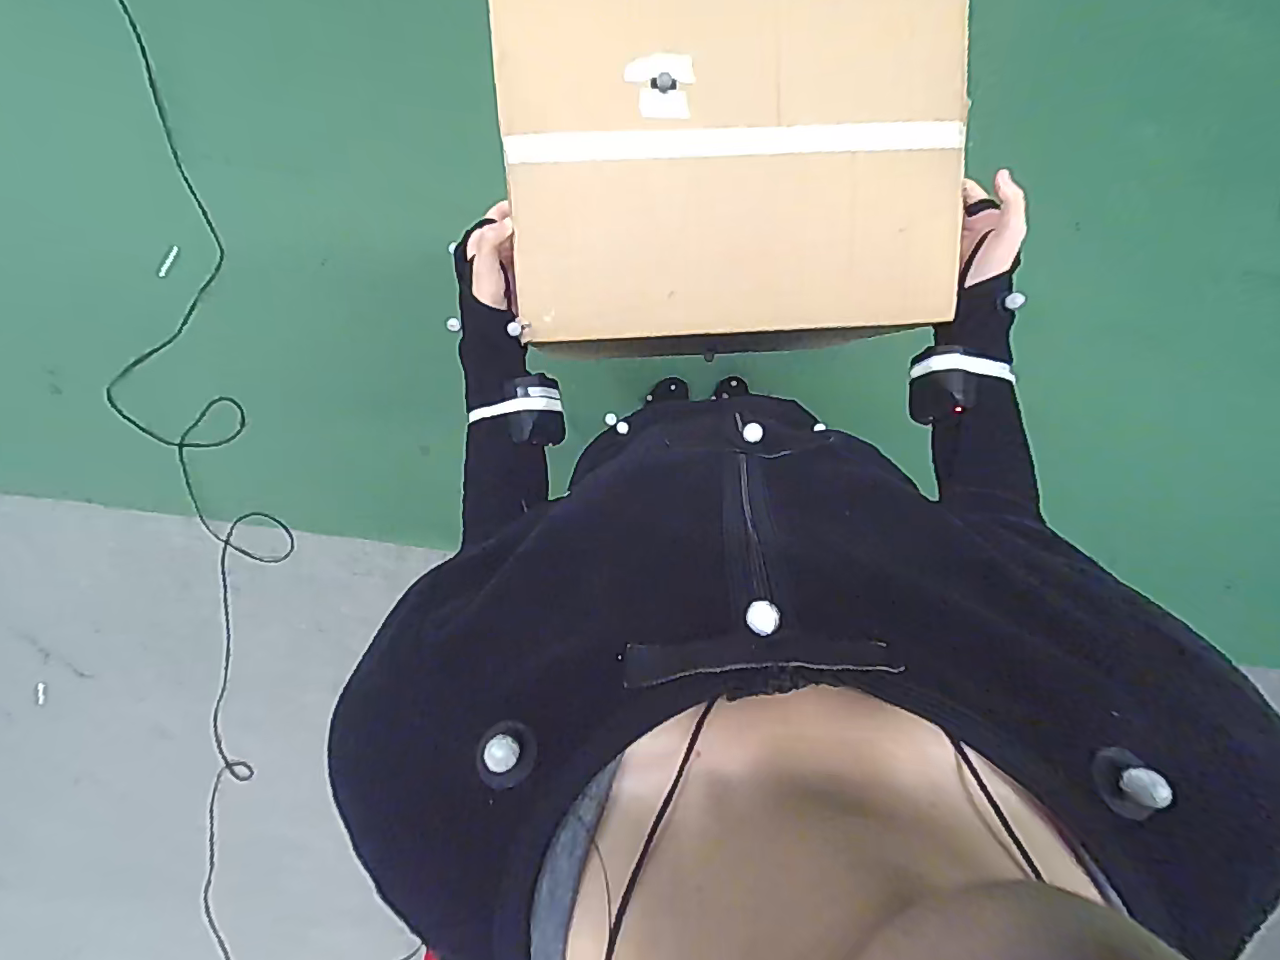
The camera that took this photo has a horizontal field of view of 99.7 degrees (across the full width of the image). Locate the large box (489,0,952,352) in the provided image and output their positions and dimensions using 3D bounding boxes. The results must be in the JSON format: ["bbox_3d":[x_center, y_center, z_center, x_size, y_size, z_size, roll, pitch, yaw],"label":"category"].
[{"bbox_3d":[0.073,-0.322,0.627,0.408,0.320,0.320,-4,99,-3],"label":"large box"}]
